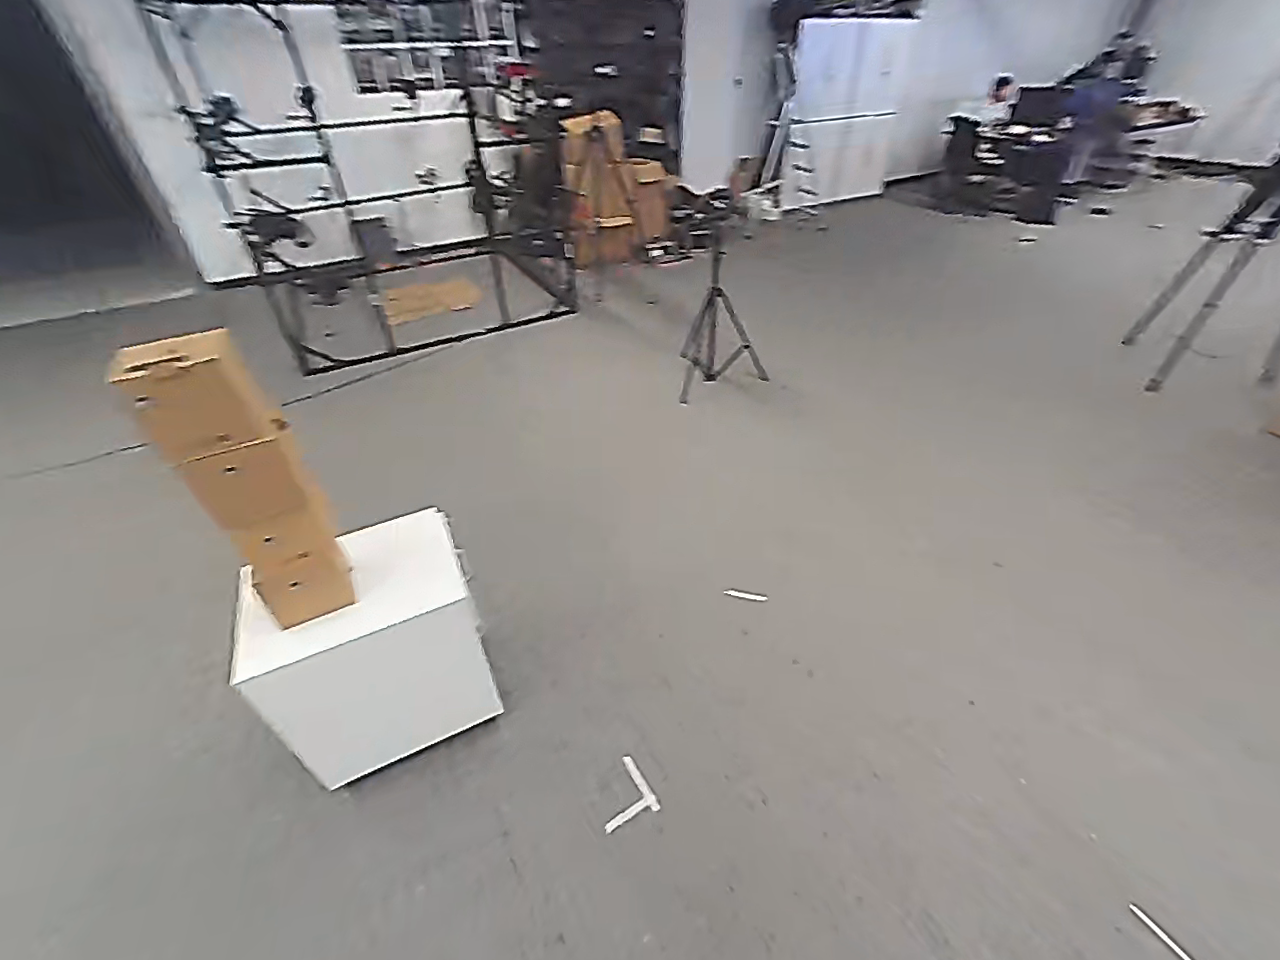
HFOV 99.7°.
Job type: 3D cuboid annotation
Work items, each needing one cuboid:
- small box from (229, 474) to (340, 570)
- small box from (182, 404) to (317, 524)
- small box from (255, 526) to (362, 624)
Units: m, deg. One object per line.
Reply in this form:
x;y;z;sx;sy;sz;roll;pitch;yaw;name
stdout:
-0.816;0.087;1.253;0.168;0.176;0.179;-19;41;-21;small box
-0.810;-0.033;1.139;0.179;0.176;0.168;-19;42;-21;small box
-0.817;0.226;1.339;0.179;0.176;0.168;-19;42;-22;small box
